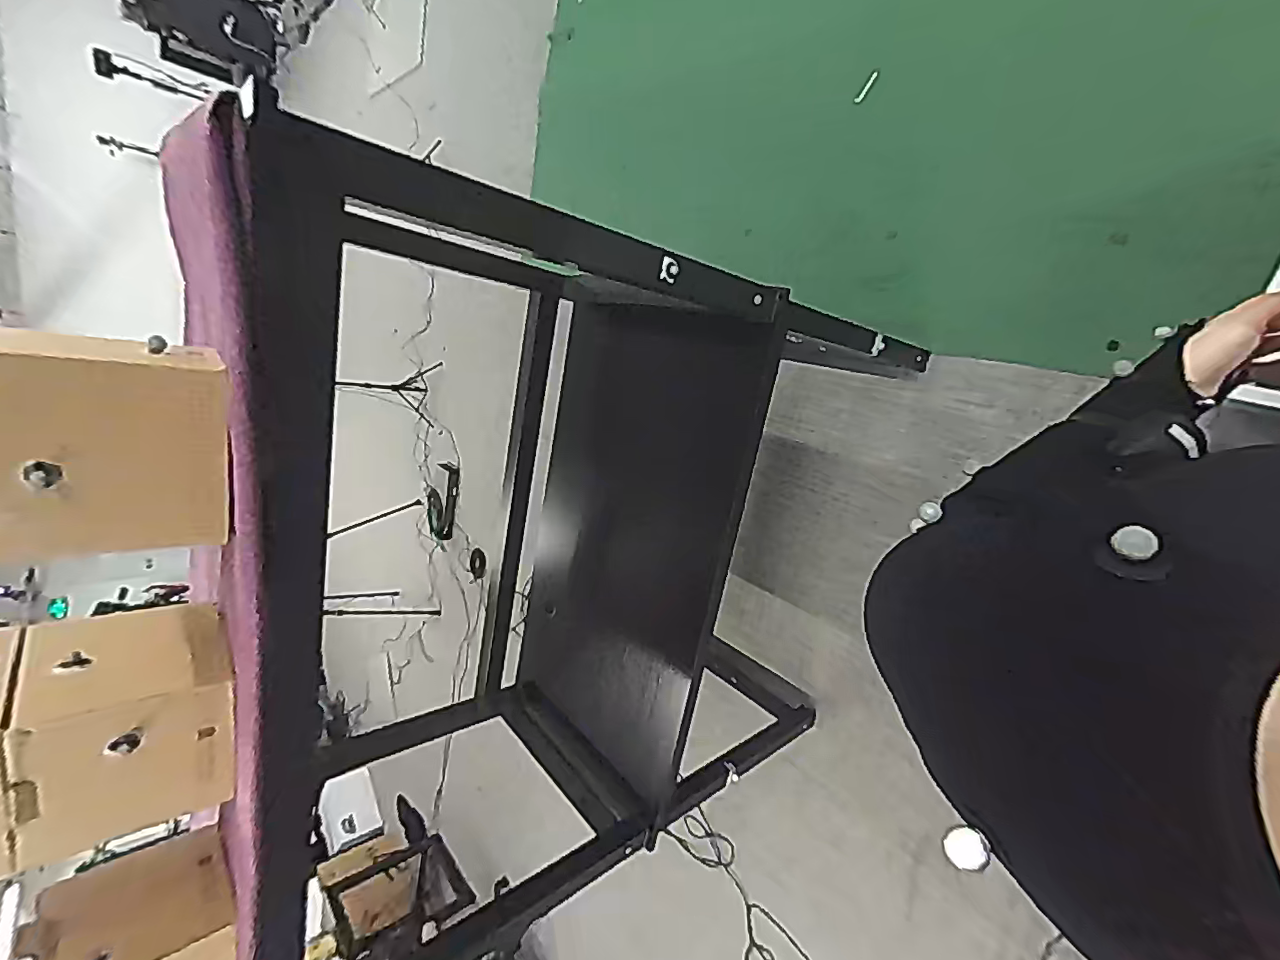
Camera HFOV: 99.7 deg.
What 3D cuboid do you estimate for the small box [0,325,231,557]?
[{"bbox_3d":[-0.506,-0.042,0.523,0.168,0.176,0.179,25,110,46],"label":"small box"}]

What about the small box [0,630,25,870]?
[{"bbox_3d":[-0.676,0.262,0.481,0.168,0.176,0.179,27,110,42],"label":"small box"}]

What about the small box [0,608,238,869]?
[{"bbox_3d":[-0.555,0.258,0.594,0.179,0.176,0.168,27,110,44],"label":"small box"}]
